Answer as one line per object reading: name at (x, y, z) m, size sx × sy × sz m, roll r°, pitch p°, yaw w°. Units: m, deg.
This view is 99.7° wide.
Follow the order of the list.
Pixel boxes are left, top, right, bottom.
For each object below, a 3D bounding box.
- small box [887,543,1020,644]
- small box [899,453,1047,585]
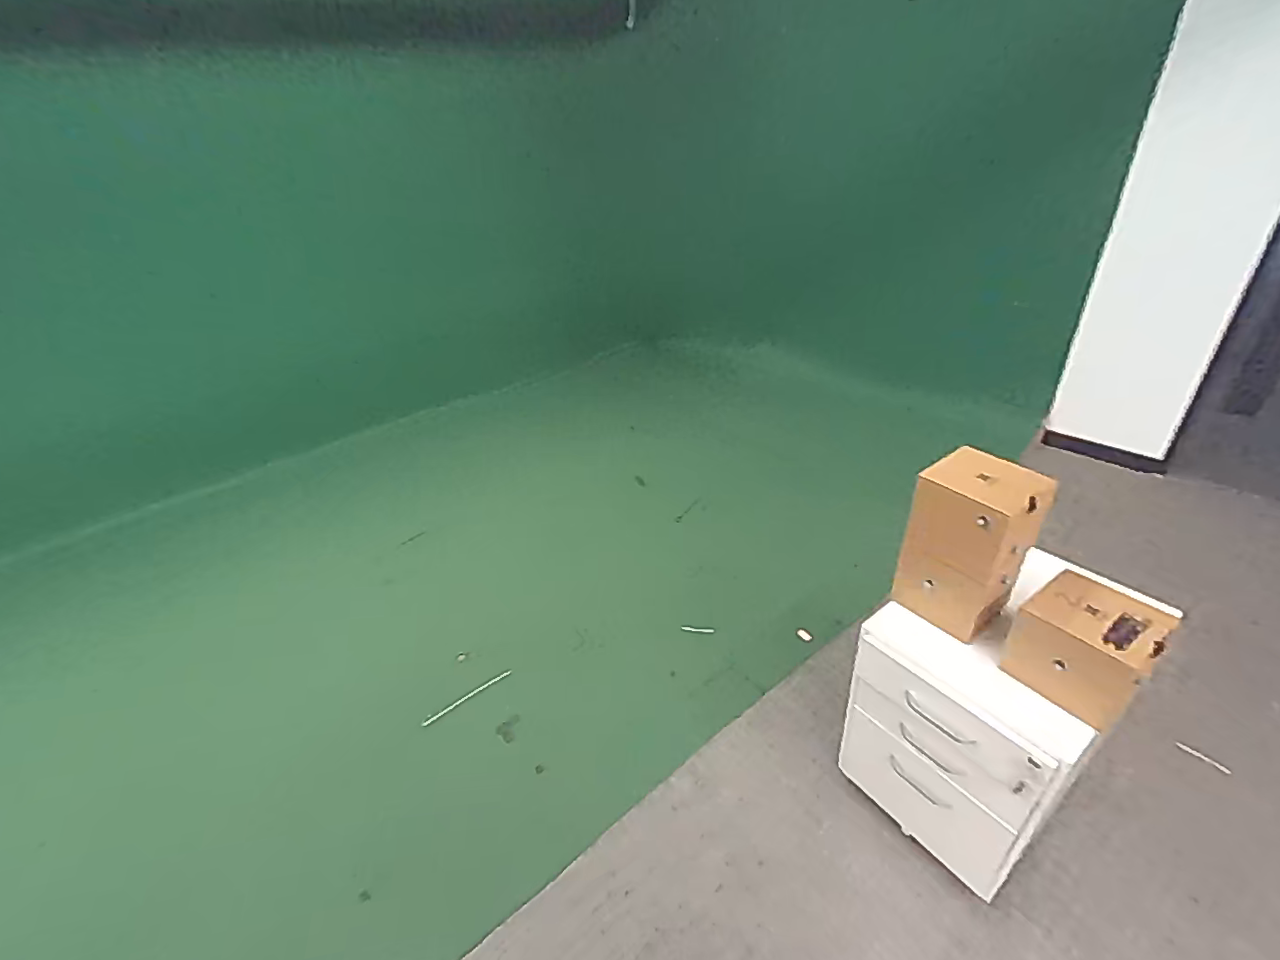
small box at (0.658, 0.213, 1.156) m, size 0.168 × 0.176 × 0.179 m, roll -26°, pitch 37°, yaw -28°
small box at (0.646, 0.075, 1.069) m, size 0.168 × 0.176 × 0.179 m, roll -24°, pitch 38°, yaw -26°
